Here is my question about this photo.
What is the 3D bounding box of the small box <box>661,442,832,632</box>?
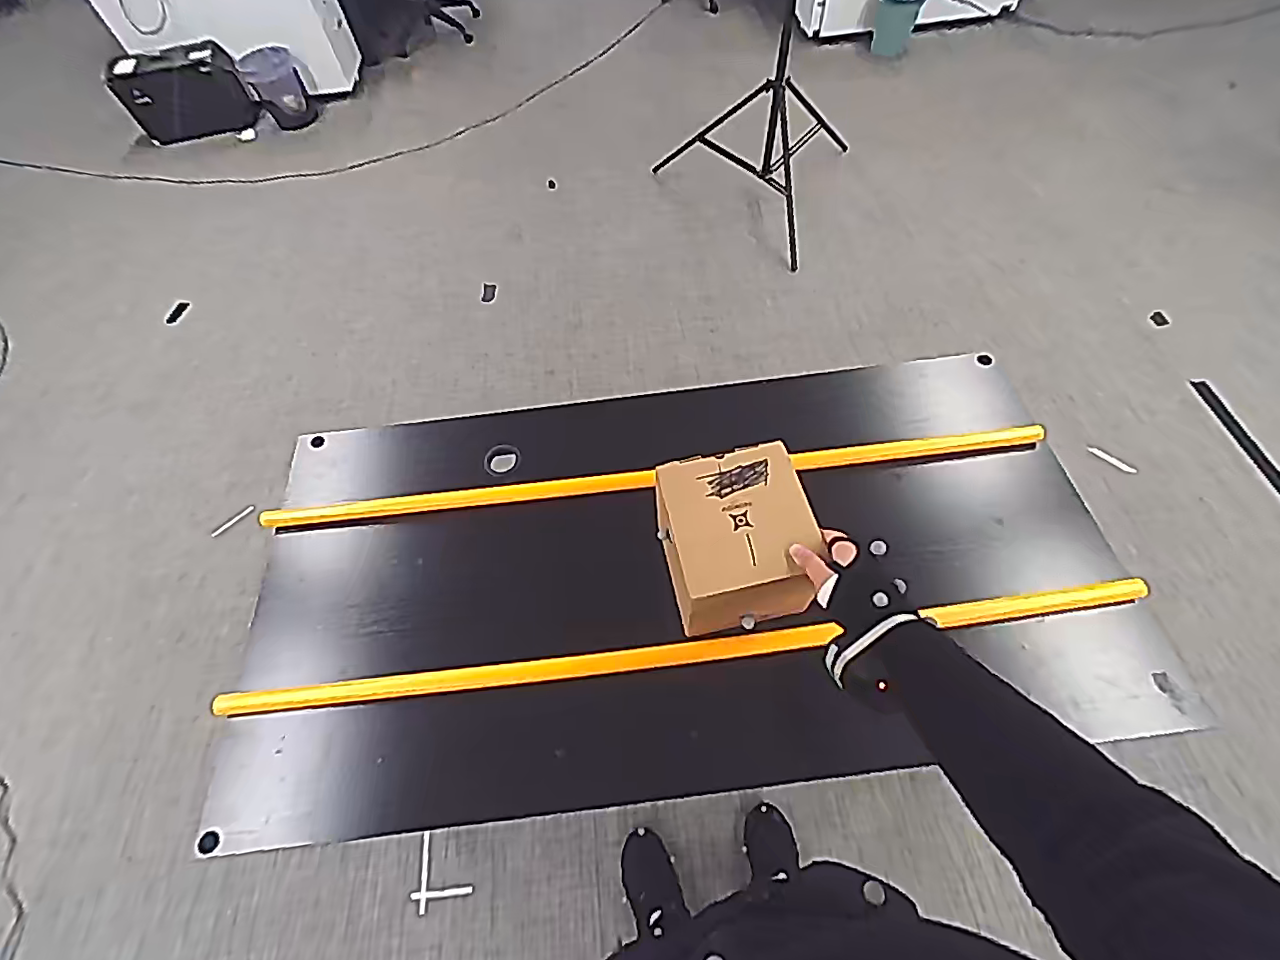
[{"bbox_3d":[0.122,0.079,0.704,0.168,0.176,0.179,-11,60,-2],"label":"small box"}]
